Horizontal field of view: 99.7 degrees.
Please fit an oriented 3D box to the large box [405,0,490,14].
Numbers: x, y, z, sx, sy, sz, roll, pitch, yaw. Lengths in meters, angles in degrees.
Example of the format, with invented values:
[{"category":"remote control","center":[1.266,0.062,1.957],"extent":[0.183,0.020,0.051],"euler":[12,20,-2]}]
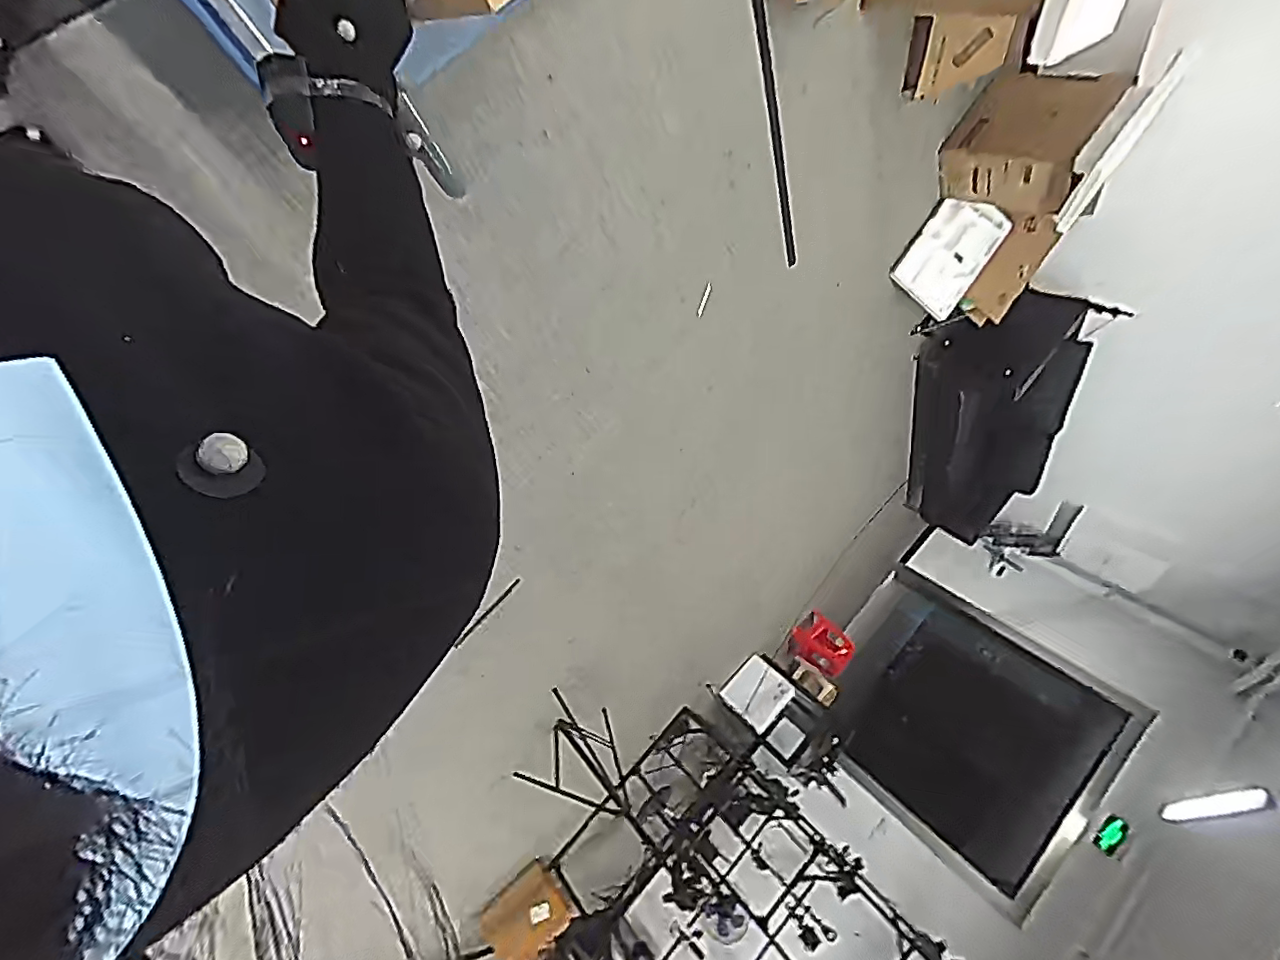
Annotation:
[{"category":"large box","center":[-0.307,-1.022,0.808],"extent":[0.320,0.320,0.408],"euler":[-46,142,-10]}]
